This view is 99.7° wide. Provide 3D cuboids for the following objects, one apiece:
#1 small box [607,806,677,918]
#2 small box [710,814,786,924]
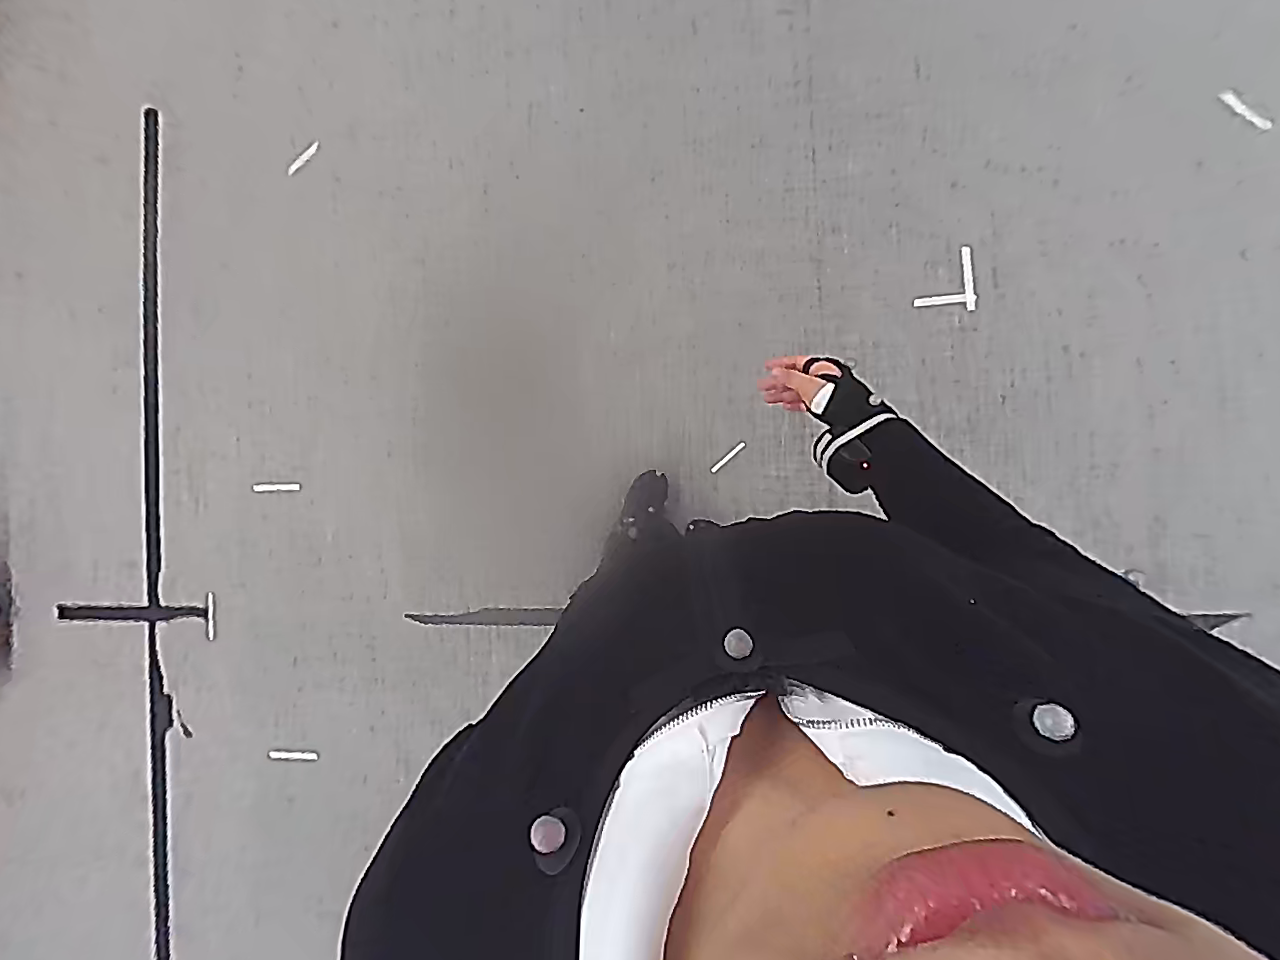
[{"bbox_3d":[0.009,0.991,1.412,0.168,0.176,0.179,-3,88,5],"label":"small box"},{"bbox_3d":[0.270,0.988,1.387,0.179,0.176,0.168,-2,89,5],"label":"small box"}]
